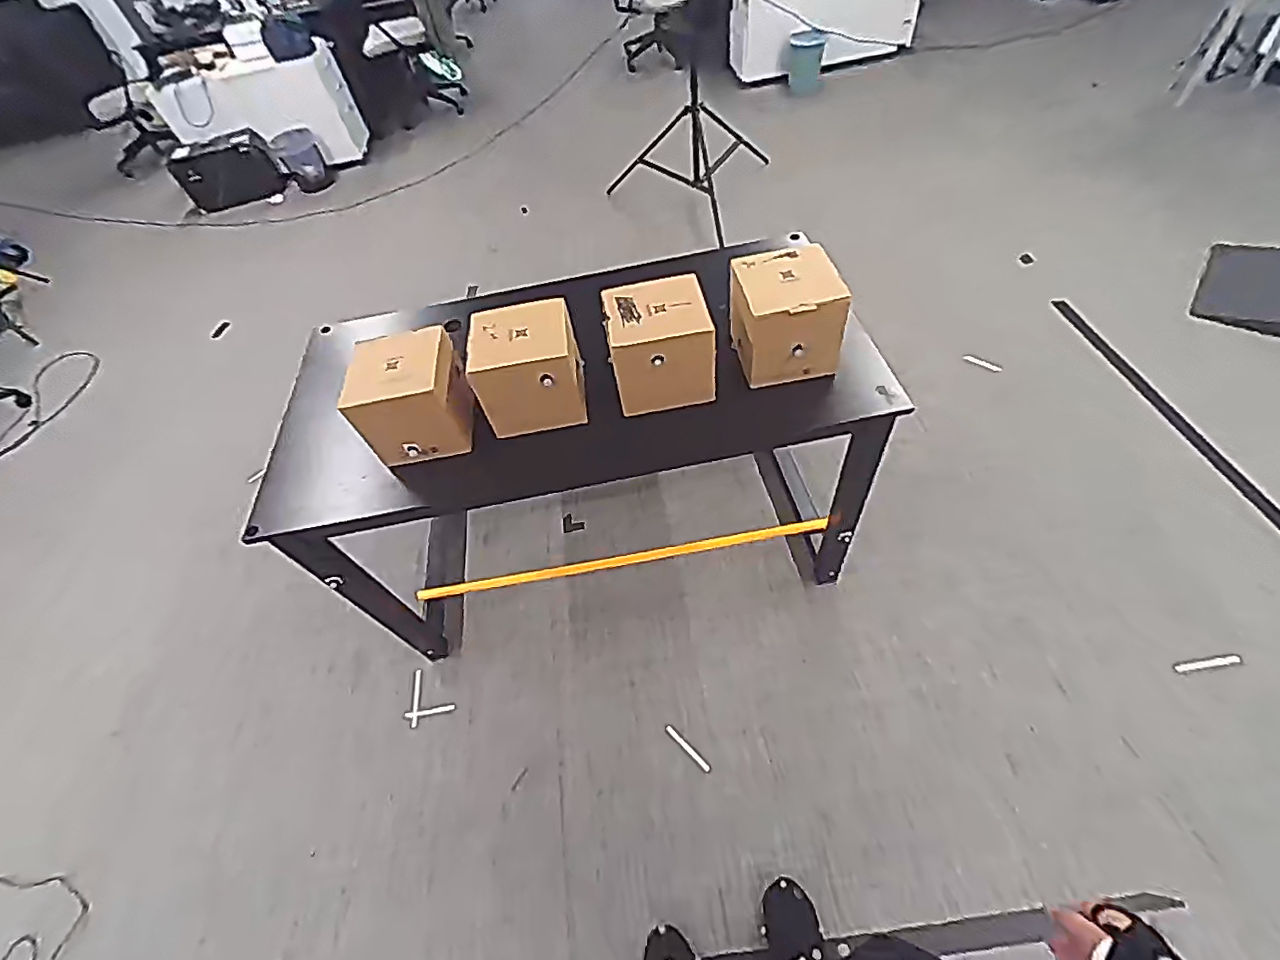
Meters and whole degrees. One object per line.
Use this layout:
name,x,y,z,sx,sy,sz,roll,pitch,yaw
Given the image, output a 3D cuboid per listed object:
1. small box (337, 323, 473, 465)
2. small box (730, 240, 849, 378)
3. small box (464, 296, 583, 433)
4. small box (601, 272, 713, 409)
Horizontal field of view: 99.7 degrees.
small box,-0.418,-0.155,0.994,0.168,0.176,0.179,-12,54,2
small box,0.263,-0.304,0.994,0.168,0.176,0.179,-9,54,1
small box,-0.204,-0.209,0.998,0.179,0.176,0.168,-10,53,2
small box,0.033,-0.249,0.991,0.179,0.176,0.168,-10,53,1
